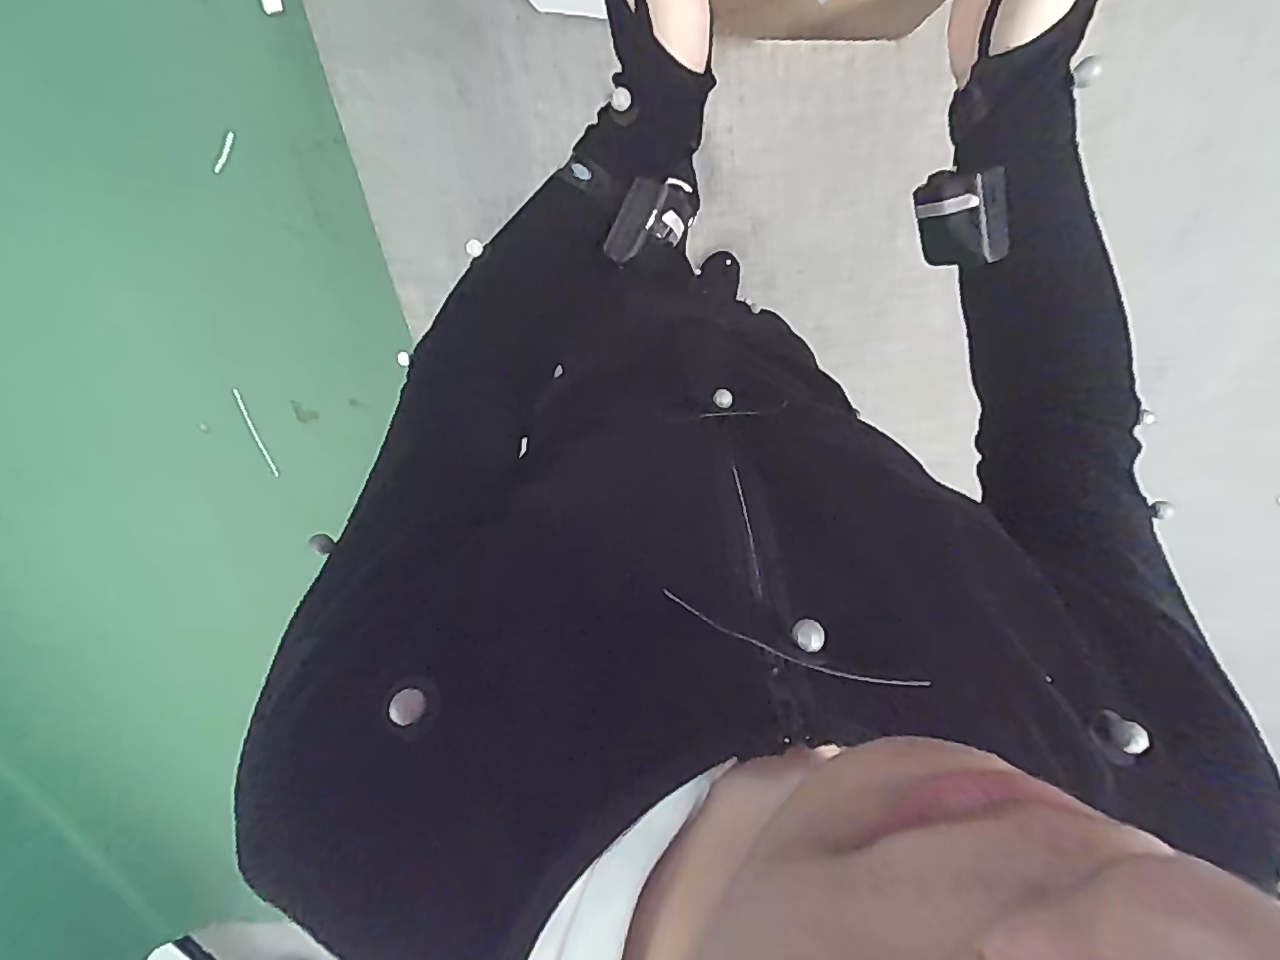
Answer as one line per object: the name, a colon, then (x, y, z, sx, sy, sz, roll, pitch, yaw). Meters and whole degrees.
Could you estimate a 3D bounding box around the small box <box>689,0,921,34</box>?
small box: (0.121, -0.406, 0.334, 0.179, 0.176, 0.168, 4, 114, 3)
